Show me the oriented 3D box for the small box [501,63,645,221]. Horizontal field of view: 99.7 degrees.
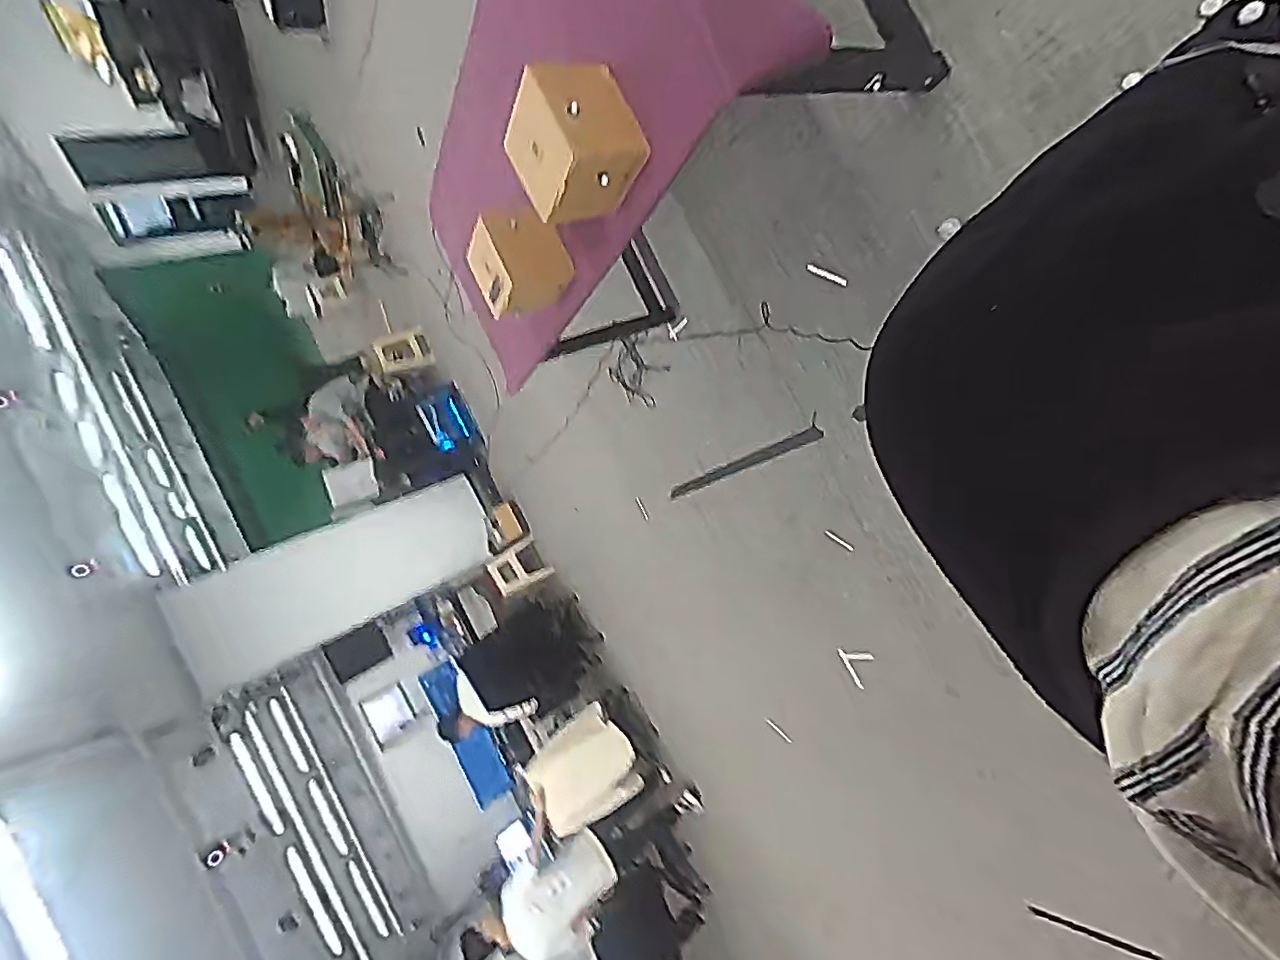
[{"bbox_3d":[-0.118,-0.601,0.964,0.179,0.176,0.168,63,149,2],"label":"small box"}]
